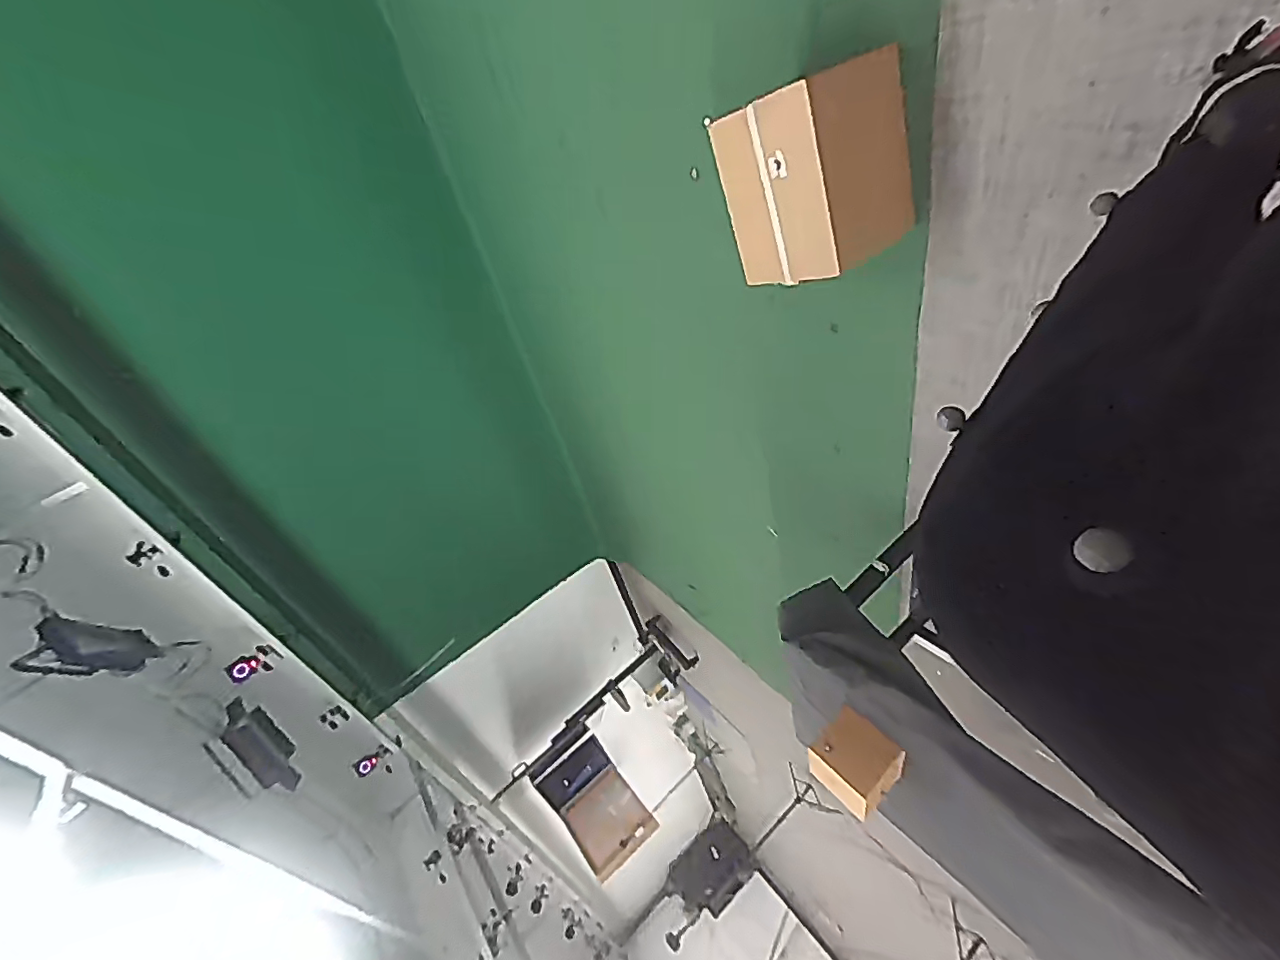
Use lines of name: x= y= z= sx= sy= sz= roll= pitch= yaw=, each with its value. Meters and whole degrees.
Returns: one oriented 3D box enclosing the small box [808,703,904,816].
small box: x=0.574 y=0.736 z=1.437 sx=0.179 sy=0.176 sz=0.168 roll=34 pitch=151 yaw=43
